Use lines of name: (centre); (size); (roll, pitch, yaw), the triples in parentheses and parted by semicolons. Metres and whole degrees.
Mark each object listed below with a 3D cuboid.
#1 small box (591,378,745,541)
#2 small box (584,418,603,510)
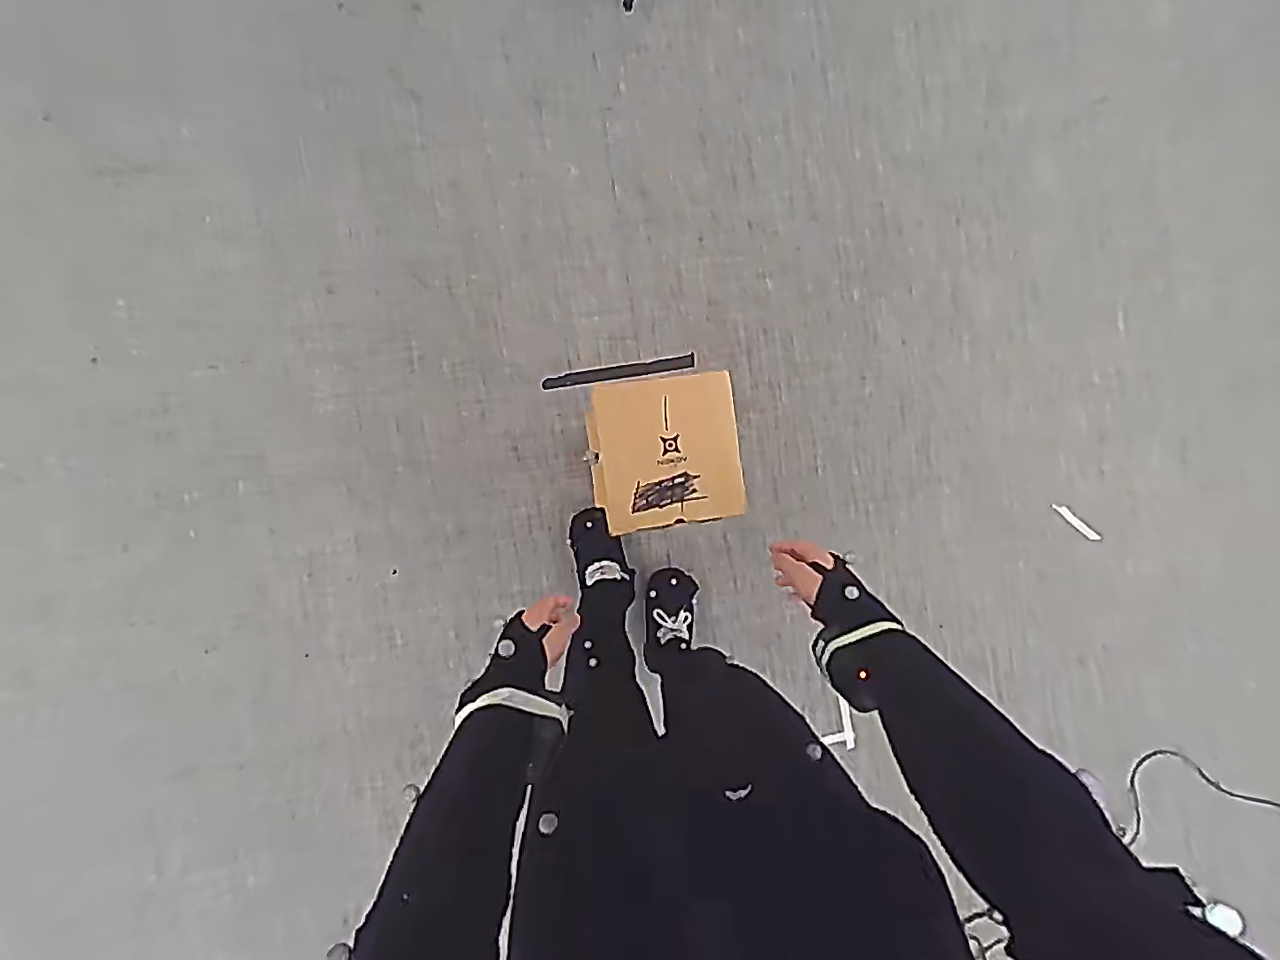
small box: (0.028, -0.028, 0.706); (0.168, 0.176, 0.179); (-8, 93, -5)
small box: (-0.010, -0.038, 1.032); (0.179, 0.176, 0.168); (-6, 94, -5)
